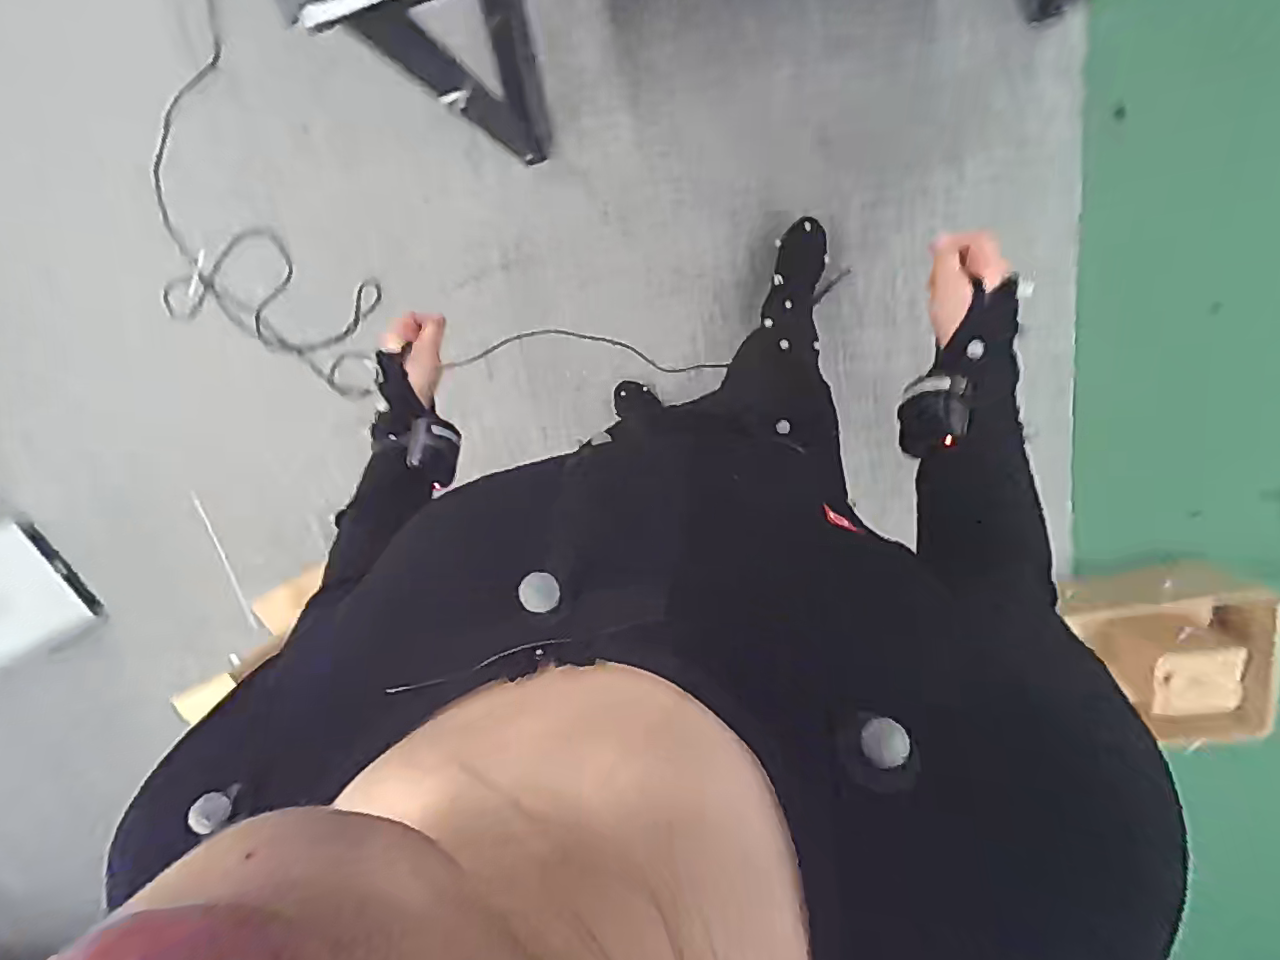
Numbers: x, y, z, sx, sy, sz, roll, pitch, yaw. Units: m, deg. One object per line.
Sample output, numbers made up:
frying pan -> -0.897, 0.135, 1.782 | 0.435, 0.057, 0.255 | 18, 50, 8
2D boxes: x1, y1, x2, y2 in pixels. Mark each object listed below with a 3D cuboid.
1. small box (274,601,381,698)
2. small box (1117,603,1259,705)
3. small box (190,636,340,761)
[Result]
small box -> -0.796, 0.438, 1.361 | 0.168, 0.176, 0.179 | -28, 102, 14
small box -> 1.317, 0.416, 1.312 | 0.179, 0.176, 0.168 | -10, 107, 12
small box -> -0.822, 0.475, 1.204 | 0.168, 0.176, 0.179 | -27, 103, 14
